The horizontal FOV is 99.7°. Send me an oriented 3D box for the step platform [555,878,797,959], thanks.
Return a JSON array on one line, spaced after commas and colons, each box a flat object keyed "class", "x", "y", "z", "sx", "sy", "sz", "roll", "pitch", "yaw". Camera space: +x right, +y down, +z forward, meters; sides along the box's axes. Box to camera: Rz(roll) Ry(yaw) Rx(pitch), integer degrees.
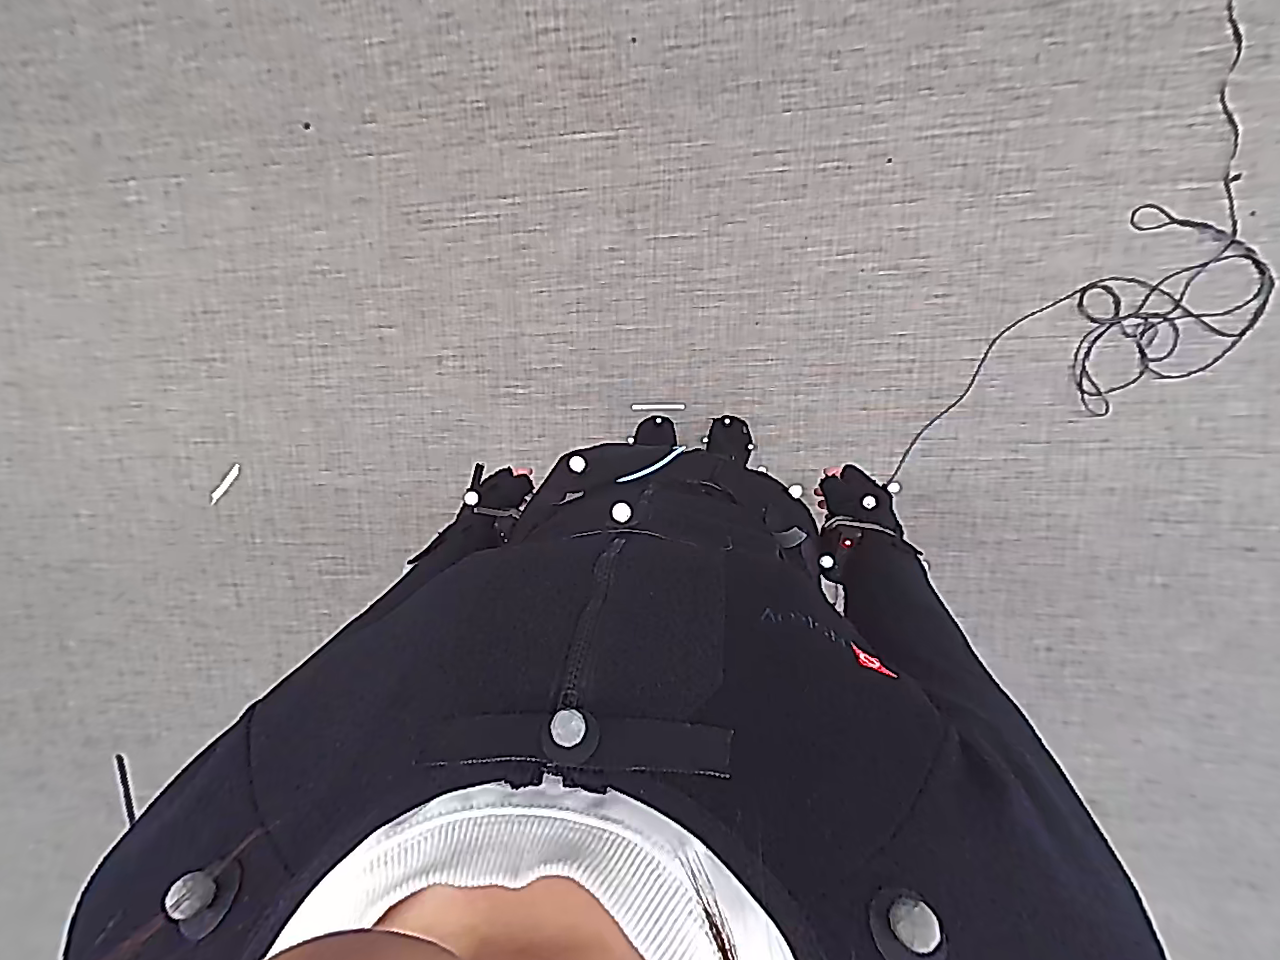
[{"class": "step platform", "x": 0.101, "y": 1.371, "z": 1.553, "sx": 0.684, "sy": 0.204, "sz": 0.286, "roll": -1, "pitch": 98, "yaw": 9}]
